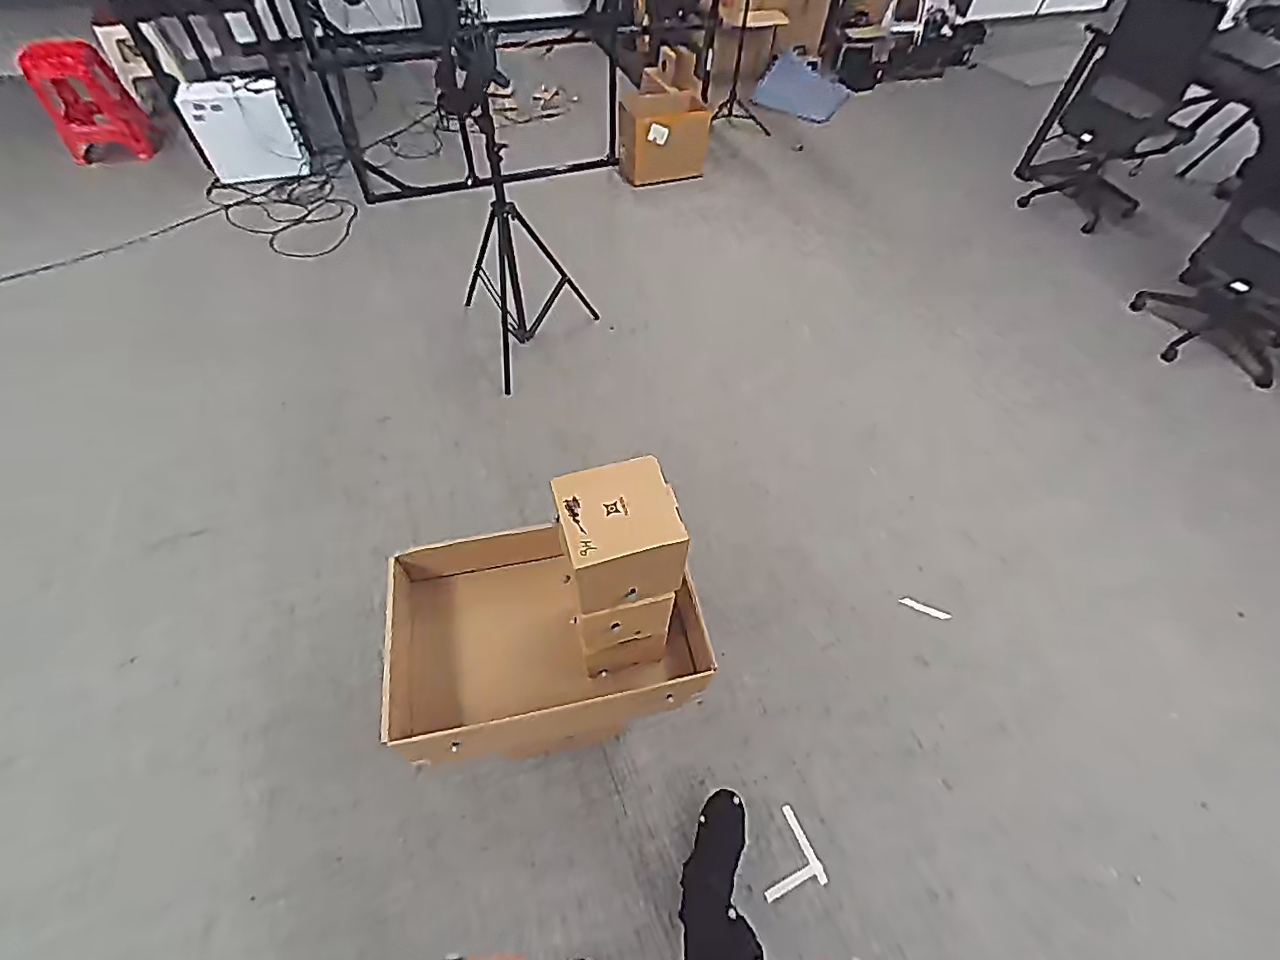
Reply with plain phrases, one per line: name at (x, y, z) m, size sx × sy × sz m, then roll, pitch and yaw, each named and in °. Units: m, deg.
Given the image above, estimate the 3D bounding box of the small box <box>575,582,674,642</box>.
small box at (-0.041, 0.183, 0.998) m, size 0.168 × 0.176 × 0.179 m, roll -11°, pitch 55°, yaw -10°

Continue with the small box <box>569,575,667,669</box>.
small box at (-0.047, 0.279, 1.129) m, size 0.168 × 0.176 × 0.179 m, roll -12°, pitch 55°, yaw -10°

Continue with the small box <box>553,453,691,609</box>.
small box at (-0.035, 0.084, 0.867) m, size 0.179 × 0.176 × 0.168 m, roll -13°, pitch 55°, yaw -12°
